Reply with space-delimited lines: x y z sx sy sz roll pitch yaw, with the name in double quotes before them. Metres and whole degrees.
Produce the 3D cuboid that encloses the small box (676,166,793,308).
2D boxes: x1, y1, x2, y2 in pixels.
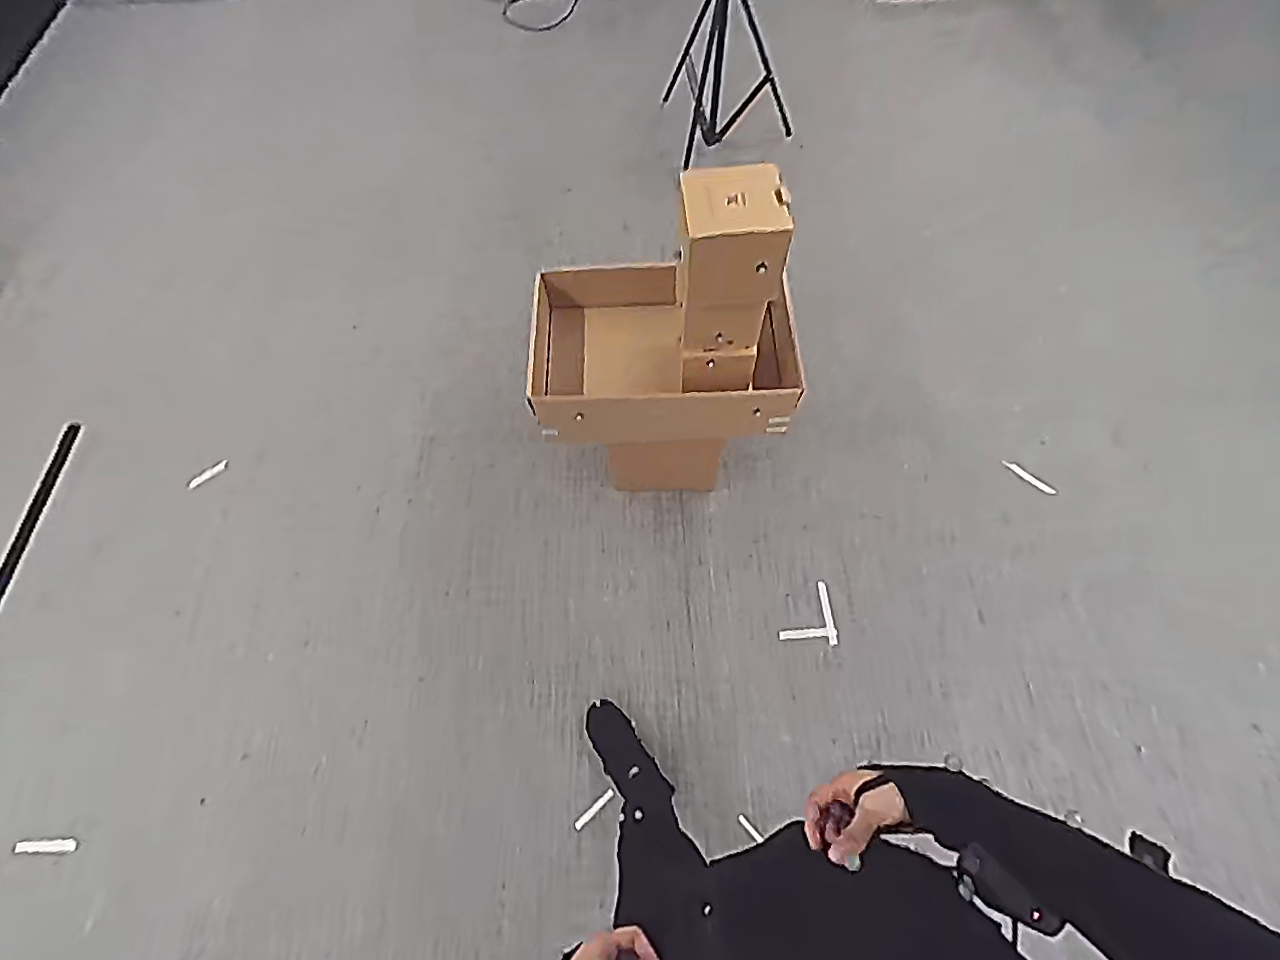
"small box" 0.163 -0.439 0.991 0.179 0.176 0.168 -5 65 0
